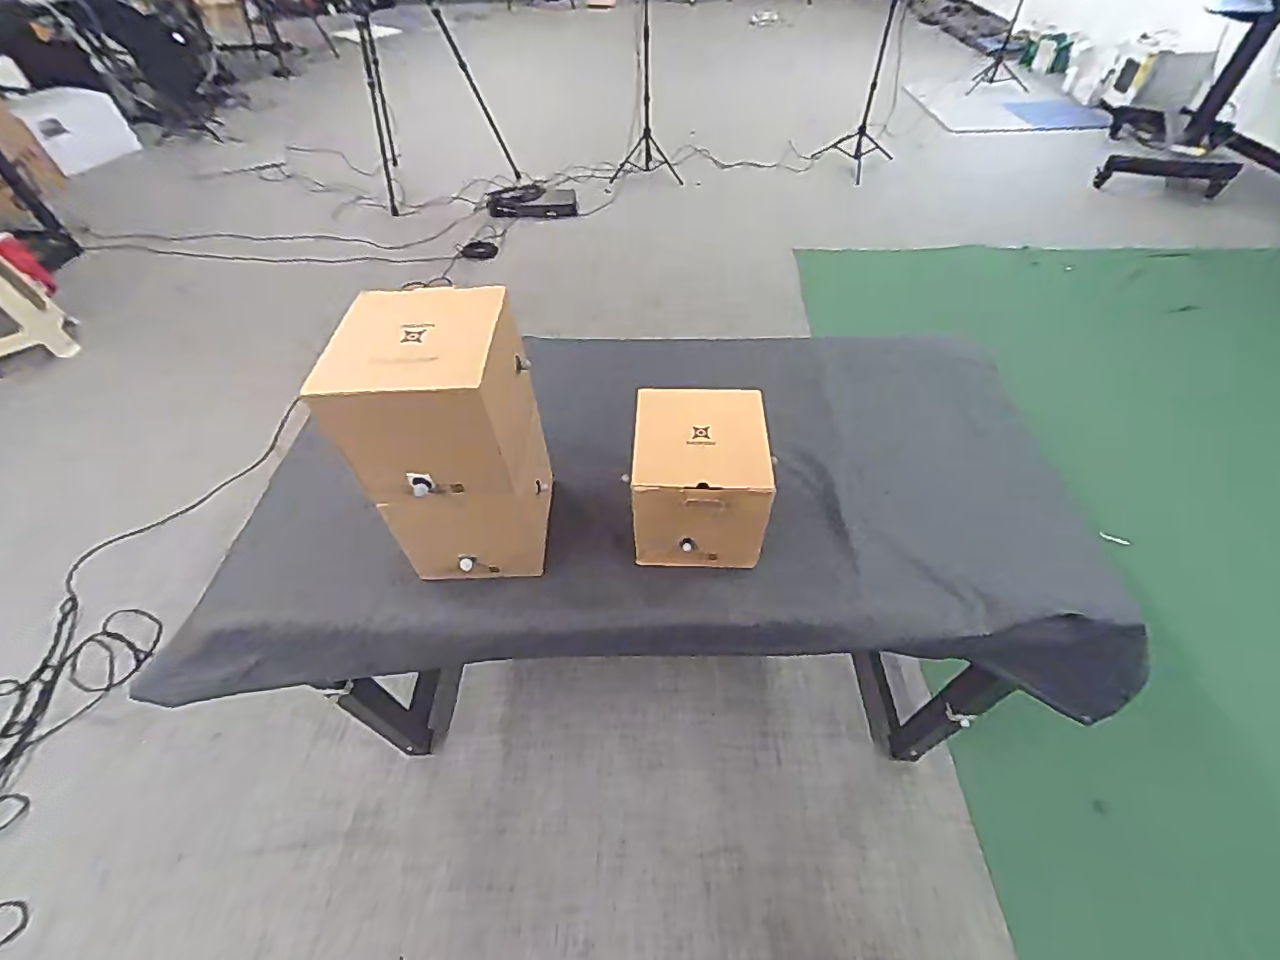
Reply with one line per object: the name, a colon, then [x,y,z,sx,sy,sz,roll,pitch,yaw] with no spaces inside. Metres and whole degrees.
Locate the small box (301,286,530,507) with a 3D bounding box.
small box: [-0.221,-0.090,0.594,0.168,0.176,0.179,-3,50,1]

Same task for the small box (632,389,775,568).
small box: [0.075,-0.002,0.727,0.168,0.176,0.179,1,50,2]

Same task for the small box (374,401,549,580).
small box: [-0.218,0.015,0.718,0.168,0.176,0.179,-2,50,0]
